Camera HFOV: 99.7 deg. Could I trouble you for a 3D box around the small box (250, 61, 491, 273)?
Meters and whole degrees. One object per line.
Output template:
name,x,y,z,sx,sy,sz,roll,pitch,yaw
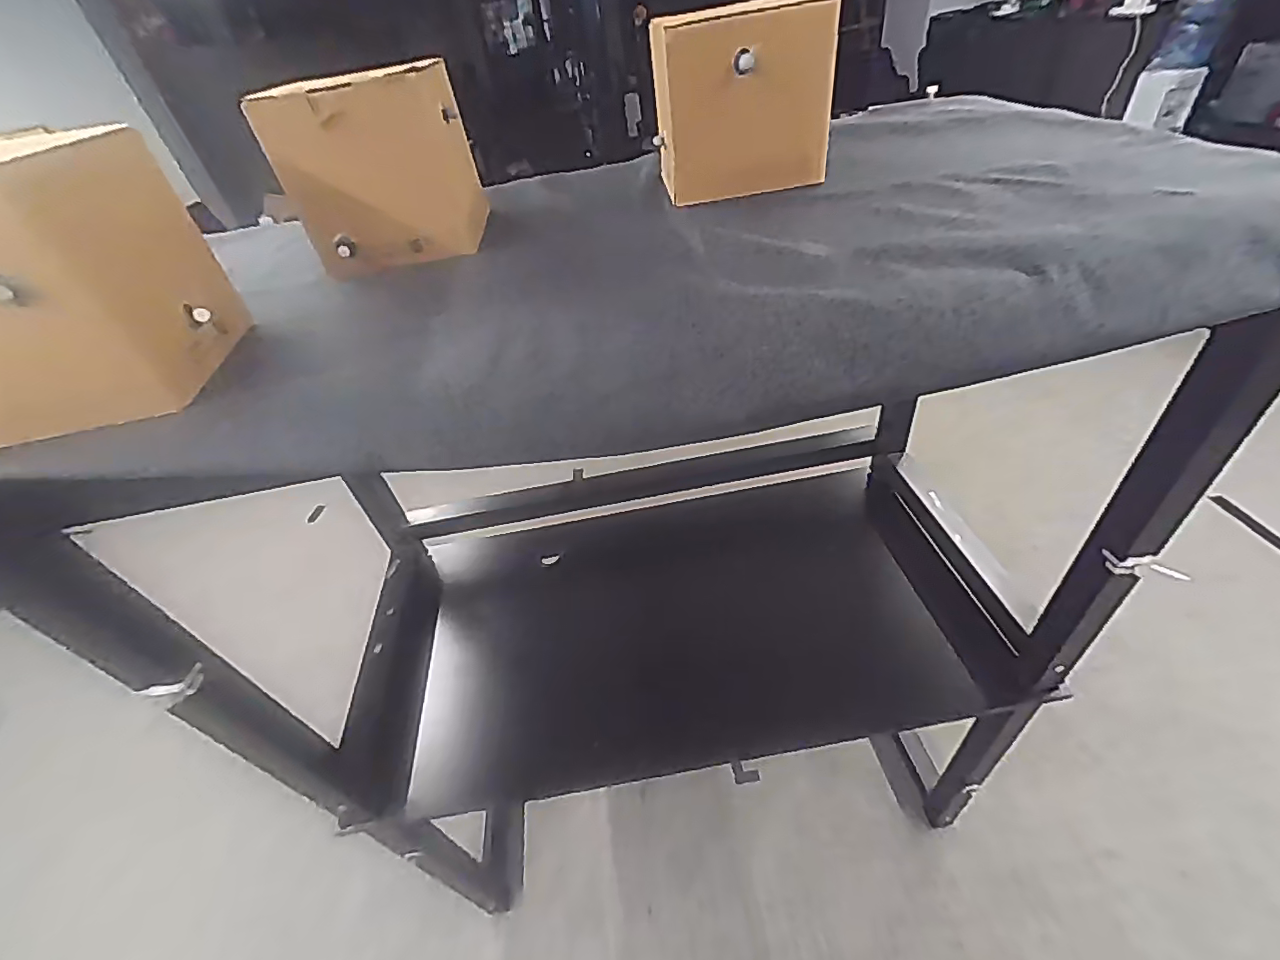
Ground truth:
small box,-0.278,-0.348,0.610,0.168,0.176,0.179,-11,40,0

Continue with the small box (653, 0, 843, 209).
small box,0.116,-0.438,0.632,0.179,0.176,0.168,-9,41,3
